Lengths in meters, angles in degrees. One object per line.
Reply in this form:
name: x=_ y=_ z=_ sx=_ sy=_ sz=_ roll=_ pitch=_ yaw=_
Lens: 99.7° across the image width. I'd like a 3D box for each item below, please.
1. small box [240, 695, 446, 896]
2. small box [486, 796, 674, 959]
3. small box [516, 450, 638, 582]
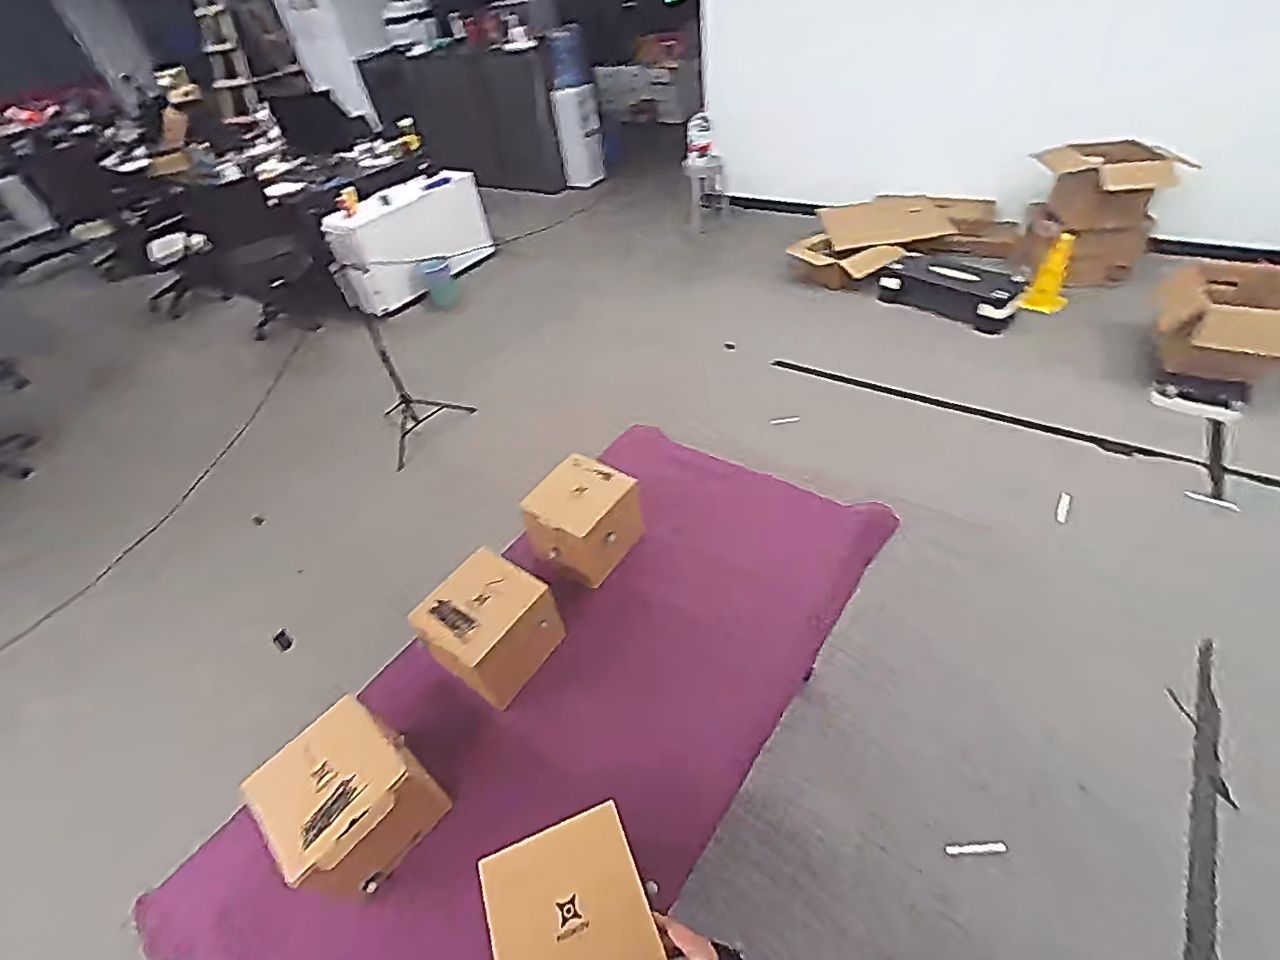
small box: x=-0.414 y=0.455 z=0.778 sx=0.179 sy=0.176 sz=0.168 roll=28 pitch=55 yaw=32
small box: x=-0.069 y=0.513 z=0.628 sx=0.168 sy=0.176 sz=0.179 roll=-16 pitch=47 yaw=-15
small box: x=-0.118 y=0.076 z=1.102 sx=0.168 sy=0.176 sz=0.179 roll=24 pitch=55 yaw=27
